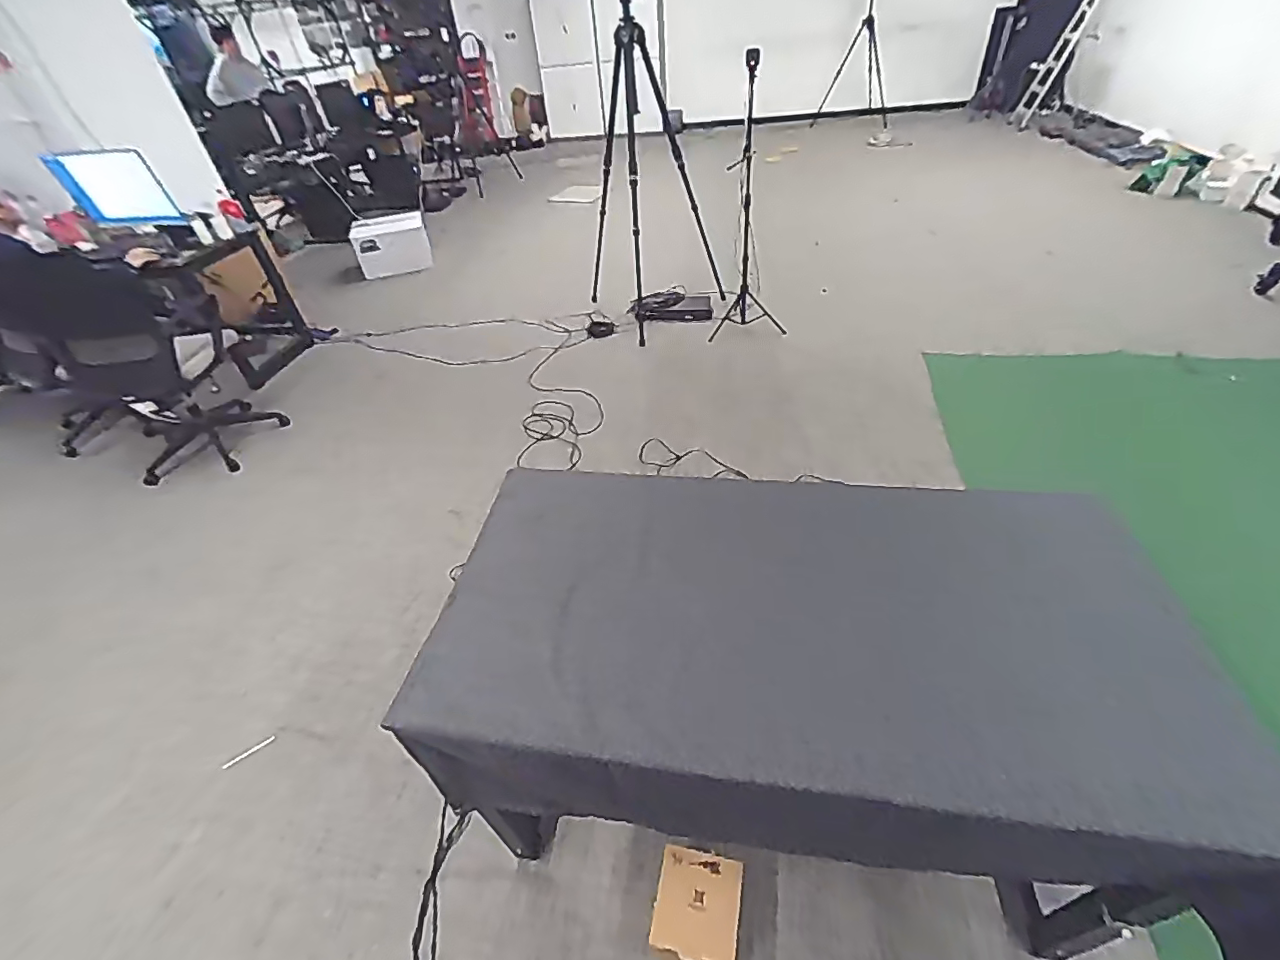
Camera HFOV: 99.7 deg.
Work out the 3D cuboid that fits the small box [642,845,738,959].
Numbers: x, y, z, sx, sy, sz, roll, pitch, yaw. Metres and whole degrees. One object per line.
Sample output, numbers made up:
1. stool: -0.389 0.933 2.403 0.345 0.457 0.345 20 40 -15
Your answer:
1. small box: 0.110 0.896 1.114 0.168 0.176 0.179 6 42 14
